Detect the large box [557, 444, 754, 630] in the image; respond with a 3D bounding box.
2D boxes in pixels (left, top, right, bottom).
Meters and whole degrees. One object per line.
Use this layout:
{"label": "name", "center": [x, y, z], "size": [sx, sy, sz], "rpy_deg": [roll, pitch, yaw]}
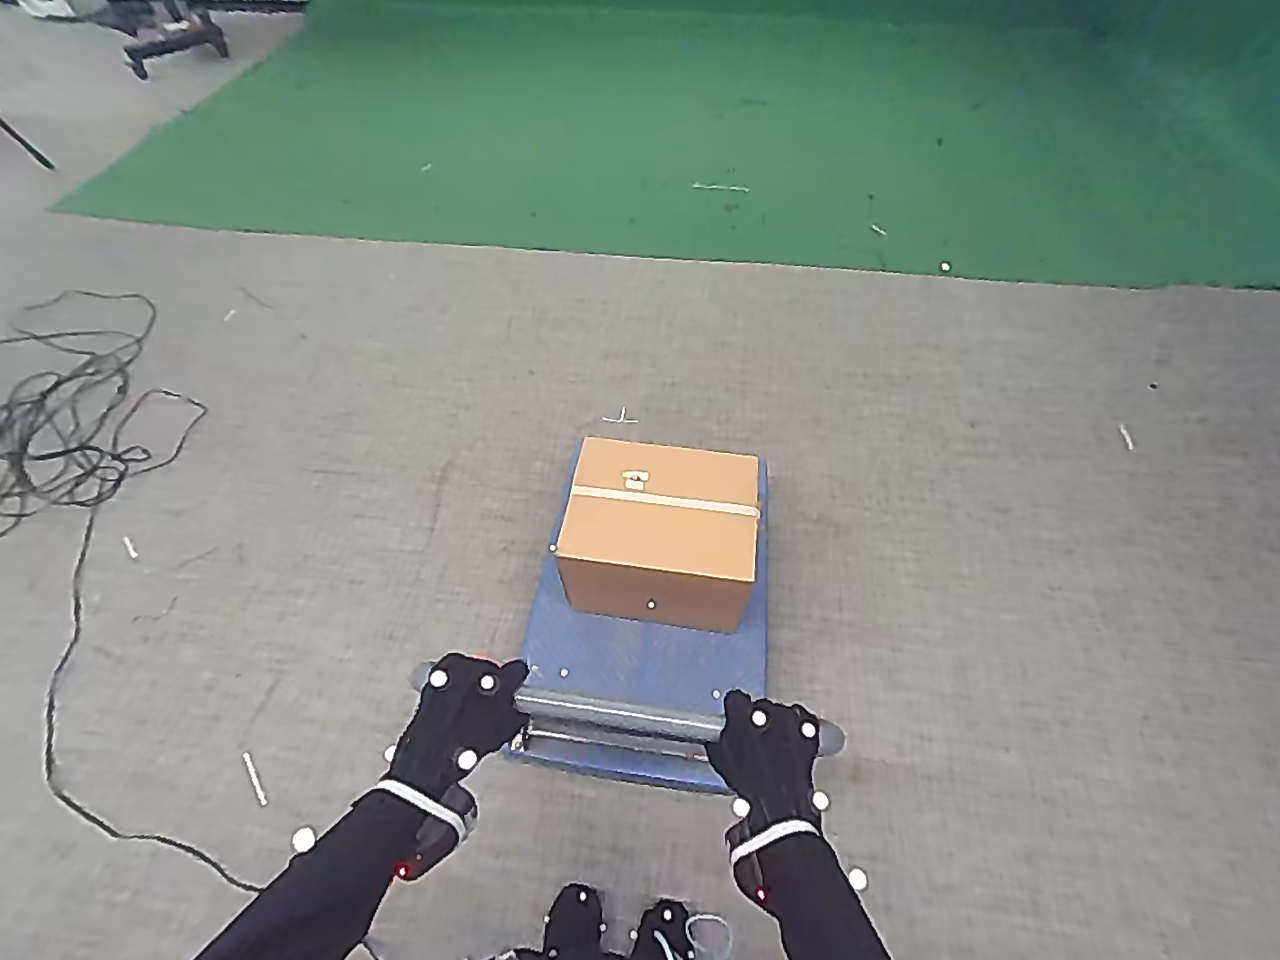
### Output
{"label": "large box", "center": [0.050, 0.142, 1.290], "size": [0.408, 0.320, 0.320], "rpy_deg": [6, 55, 6]}
